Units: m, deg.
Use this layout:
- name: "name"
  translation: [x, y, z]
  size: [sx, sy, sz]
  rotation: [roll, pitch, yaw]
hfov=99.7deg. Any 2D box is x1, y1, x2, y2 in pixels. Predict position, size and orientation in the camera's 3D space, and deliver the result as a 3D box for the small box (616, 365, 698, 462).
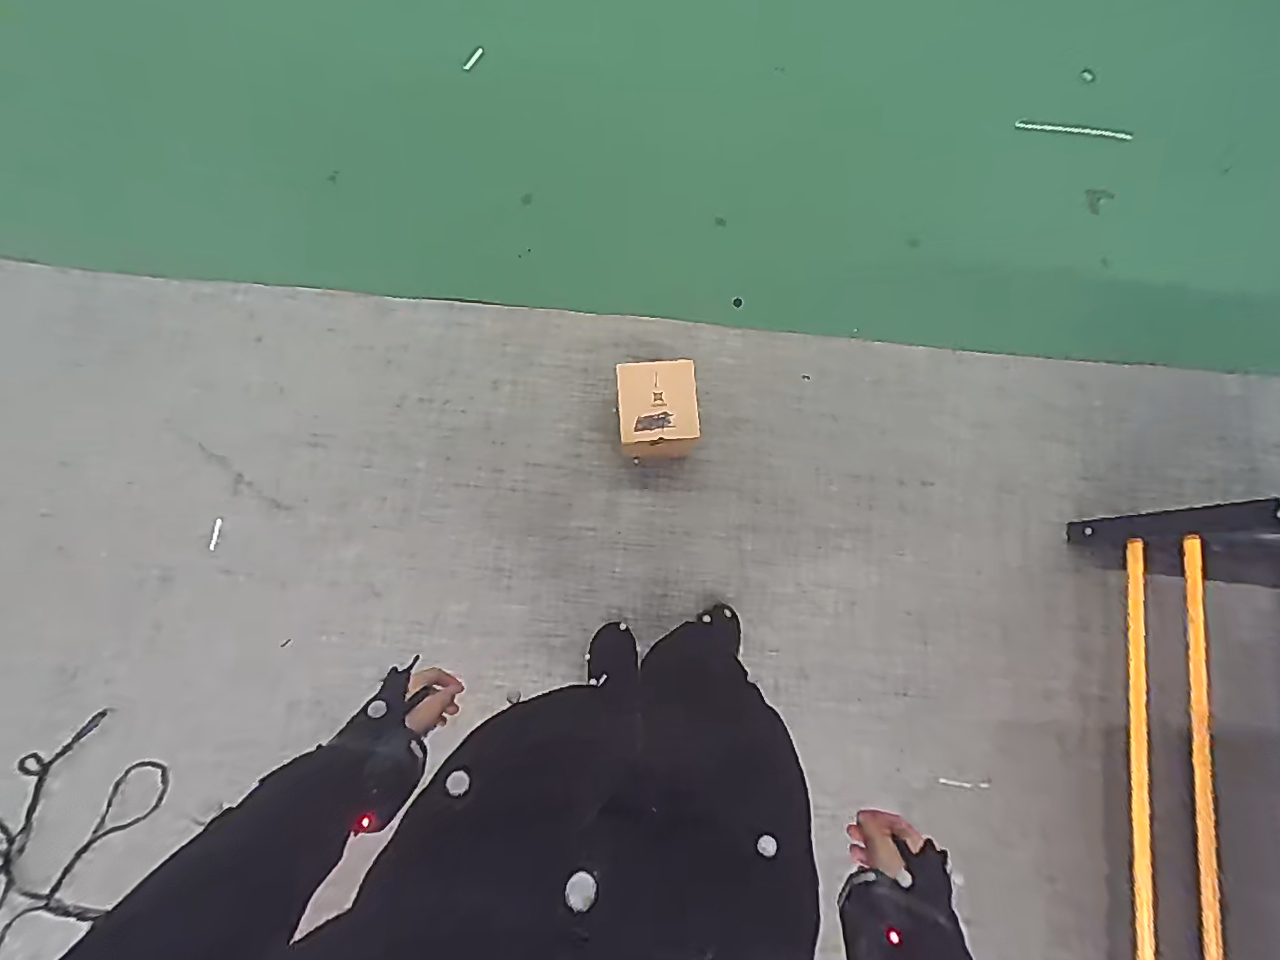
- name: "small box"
  translation: [0.035, -0.139, 1.208]
  size: [0.168, 0.176, 0.179]
  rotation: [-4, 79, -2]
